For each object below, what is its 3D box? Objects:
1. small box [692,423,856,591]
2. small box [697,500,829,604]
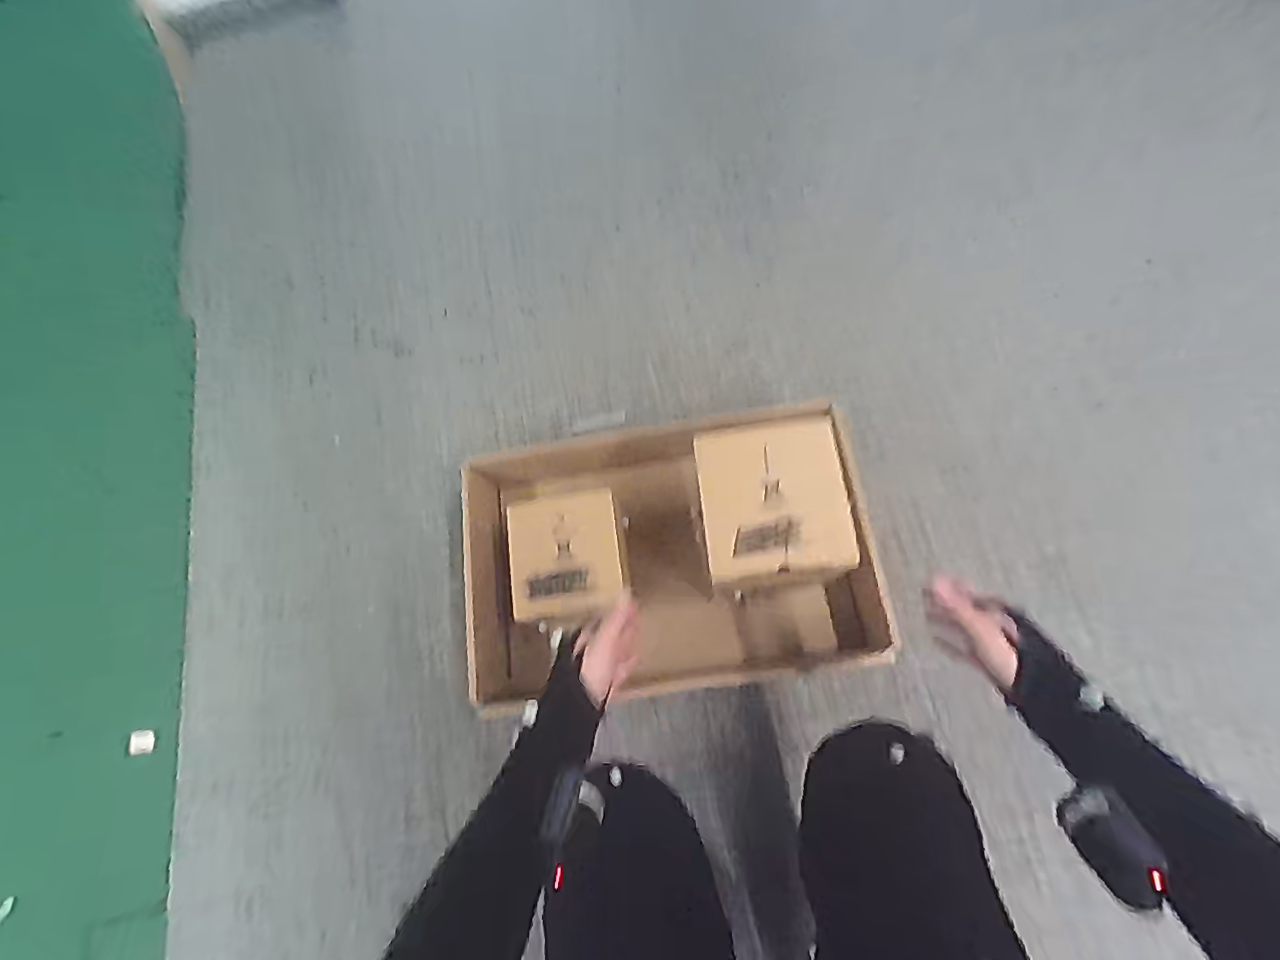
[{"bbox_3d":[0.162,0.046,0.698,0.168,0.176,0.179,-7,71,5],"label":"small box"},{"bbox_3d":[0.182,0.093,0.853,0.168,0.176,0.179,-9,73,5],"label":"small box"}]
